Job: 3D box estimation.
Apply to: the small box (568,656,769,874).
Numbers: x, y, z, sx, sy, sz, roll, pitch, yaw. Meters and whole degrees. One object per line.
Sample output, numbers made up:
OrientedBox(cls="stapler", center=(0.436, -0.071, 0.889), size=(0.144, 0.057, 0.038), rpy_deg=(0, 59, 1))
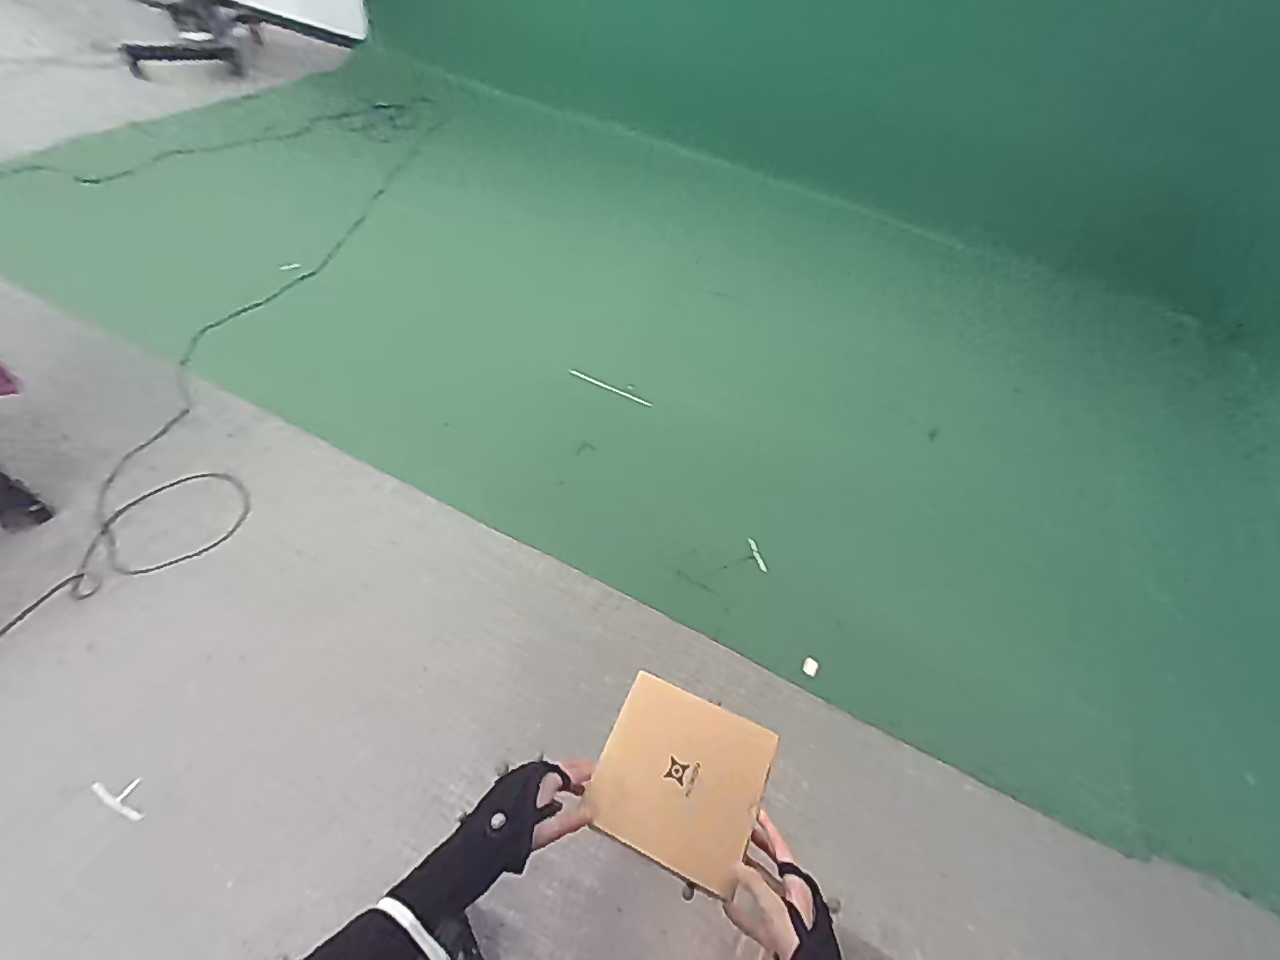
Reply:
OrientedBox(cls="small box", center=(0.036, 0.345, 0.651), size=(0.179, 0.176, 0.168), rpy_deg=(20, 57, 15))
